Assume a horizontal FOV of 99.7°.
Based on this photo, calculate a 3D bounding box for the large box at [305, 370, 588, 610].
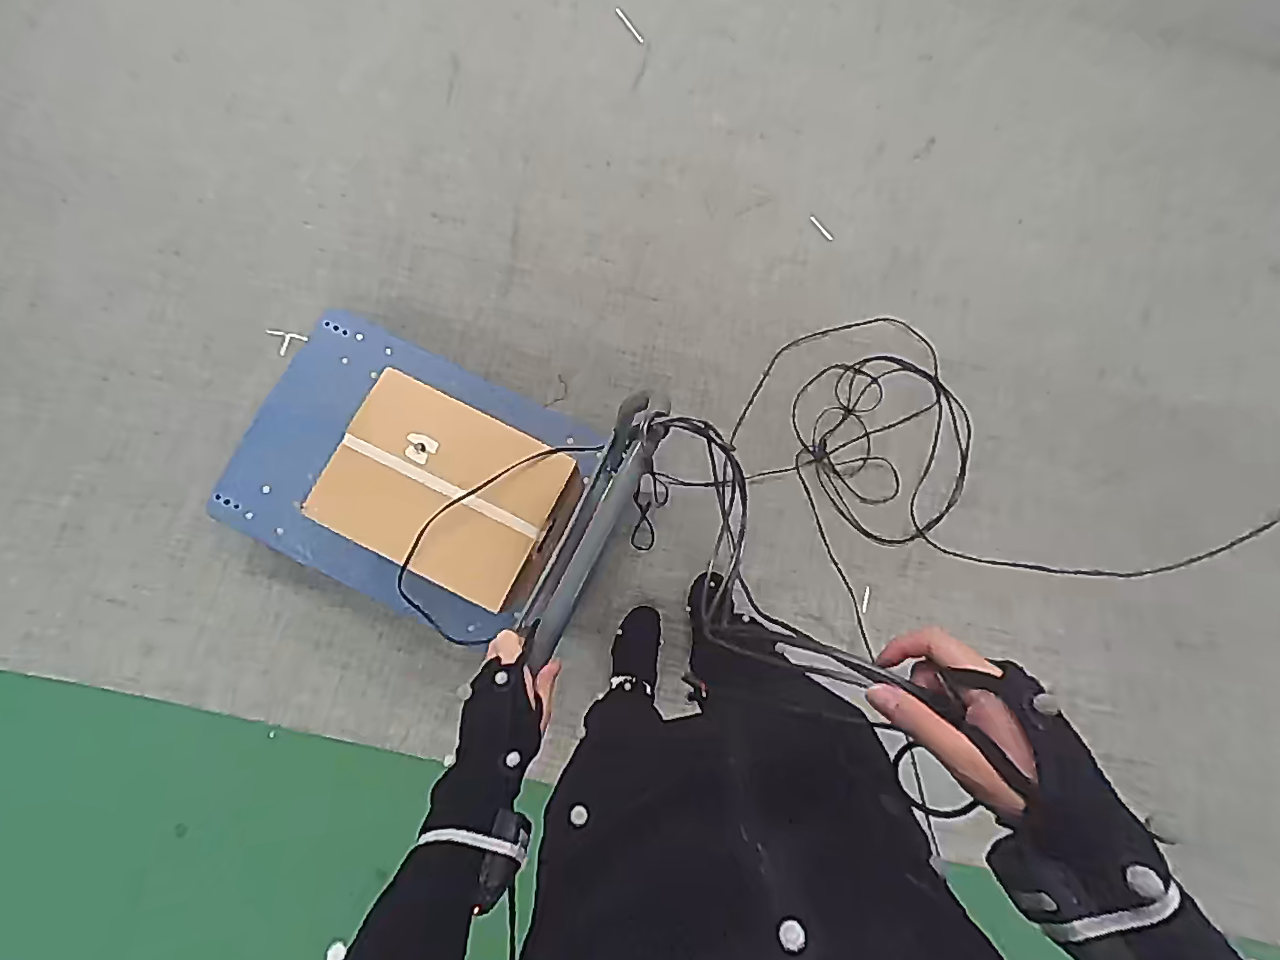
[{"bbox_3d":[-0.357,0.033,1.120,0.408,0.320,0.320,26,81,2],"label":"large box"}]
